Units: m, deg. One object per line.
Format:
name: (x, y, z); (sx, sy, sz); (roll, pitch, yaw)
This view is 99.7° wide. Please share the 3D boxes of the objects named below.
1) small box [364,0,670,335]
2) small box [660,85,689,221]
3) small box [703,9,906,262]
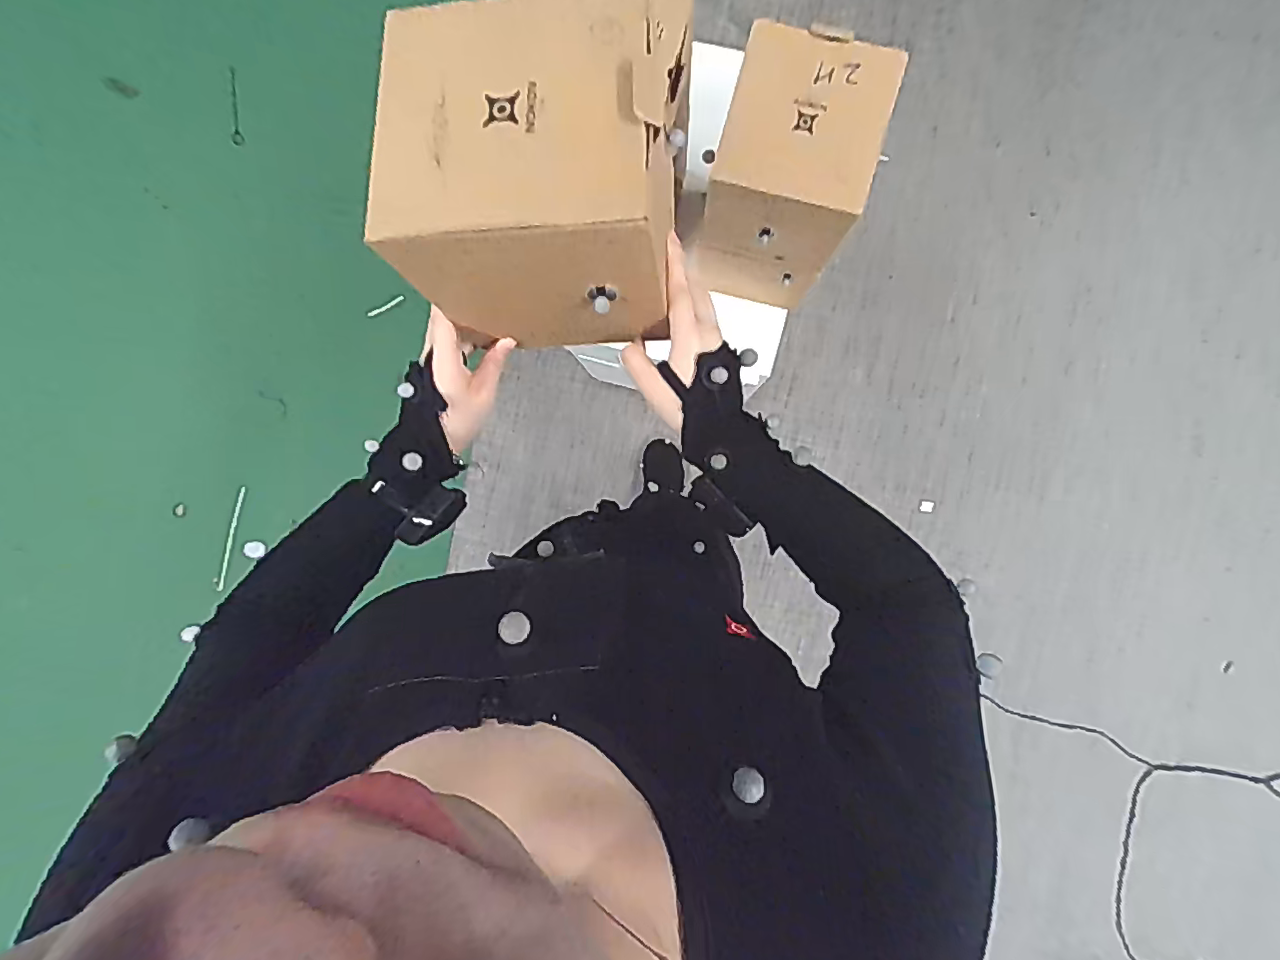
small box: (-0.069, -0.219, 0.402); (0.179, 0.176, 0.168); (-1, 81, 9)
small box: (-0.034, -0.466, 0.812); (0.179, 0.176, 0.168); (14, 93, 2)
small box: (0.175, -0.384, 0.636); (0.168, 0.176, 0.179); (16, 92, 3)
